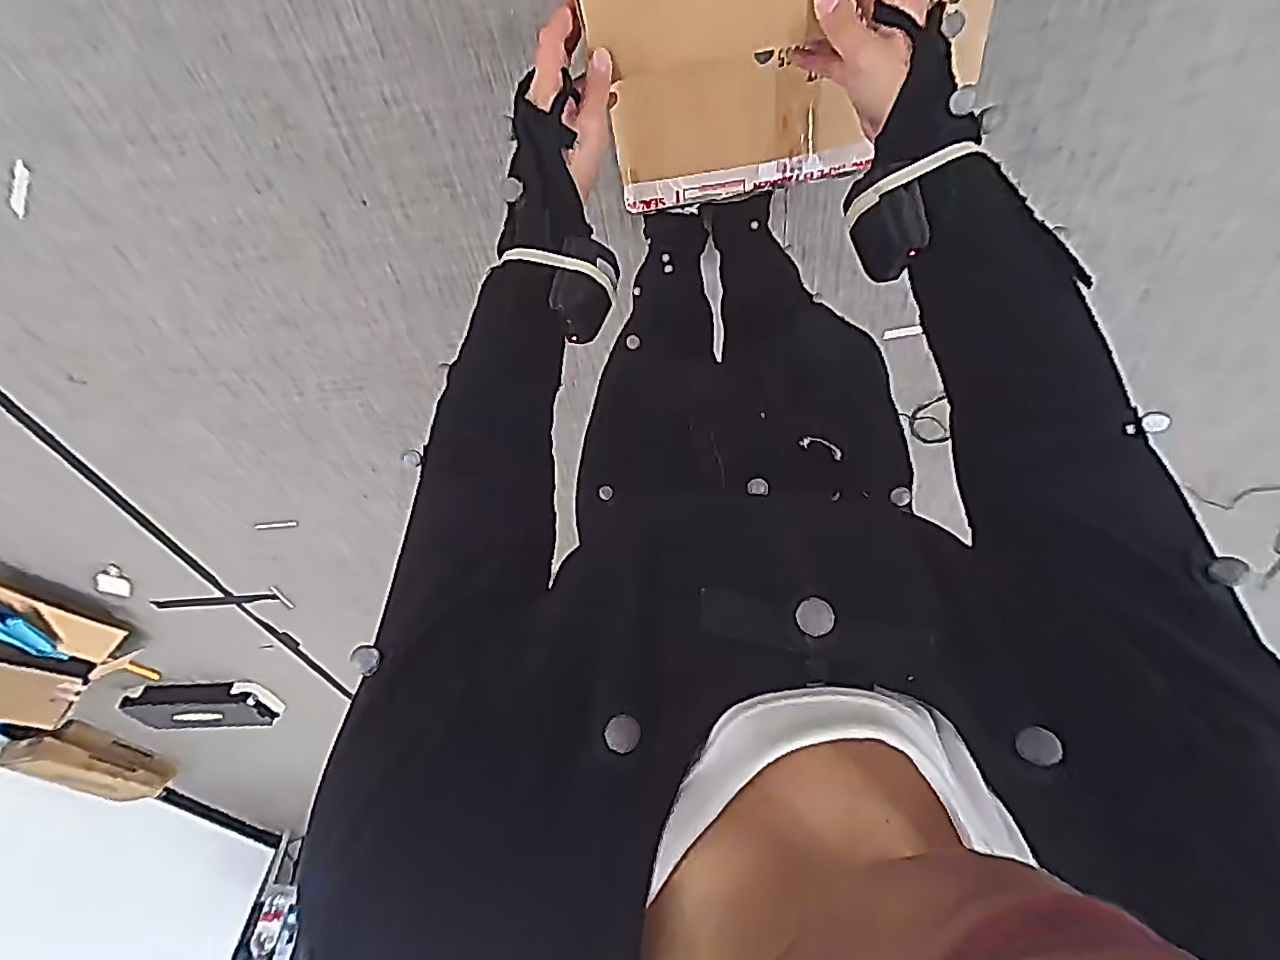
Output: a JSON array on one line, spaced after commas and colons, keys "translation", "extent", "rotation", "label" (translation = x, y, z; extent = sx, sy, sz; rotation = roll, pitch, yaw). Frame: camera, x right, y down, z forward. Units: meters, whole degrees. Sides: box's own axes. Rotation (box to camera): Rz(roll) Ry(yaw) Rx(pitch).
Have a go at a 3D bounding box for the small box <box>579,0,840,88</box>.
[{"translation": [0.038, -0.410, 0.376], "extent": [0.179, 0.176, 0.168], "rotation": [-6, 140, 7], "label": "small box"}]
